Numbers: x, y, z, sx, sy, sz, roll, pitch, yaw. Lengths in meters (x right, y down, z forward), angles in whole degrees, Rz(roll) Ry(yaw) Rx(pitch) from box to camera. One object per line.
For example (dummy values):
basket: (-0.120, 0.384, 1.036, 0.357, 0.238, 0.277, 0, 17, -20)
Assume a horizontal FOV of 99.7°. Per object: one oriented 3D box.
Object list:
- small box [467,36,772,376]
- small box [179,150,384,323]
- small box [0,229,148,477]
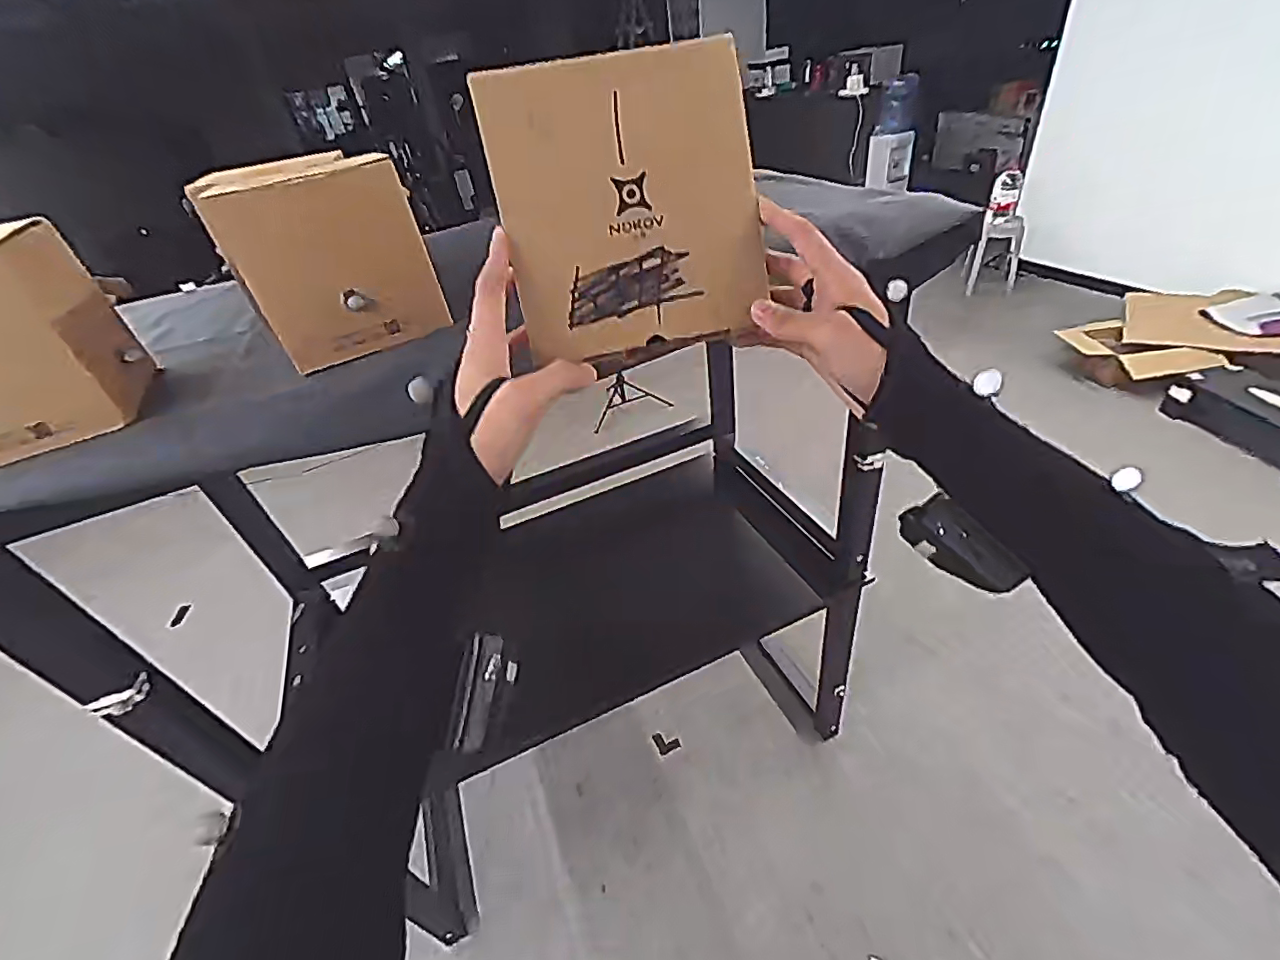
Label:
small box: (-0.015, -0.183, 0.413, 0.168, 0.179, 0.176, -13, 12, -5)
small box: (-0.467, -0.331, 0.740, 0.168, 0.176, 0.179, -19, 40, -12)
small box: (-0.607, -0.112, 0.497, 0.168, 0.176, 0.179, -26, 41, -19)
